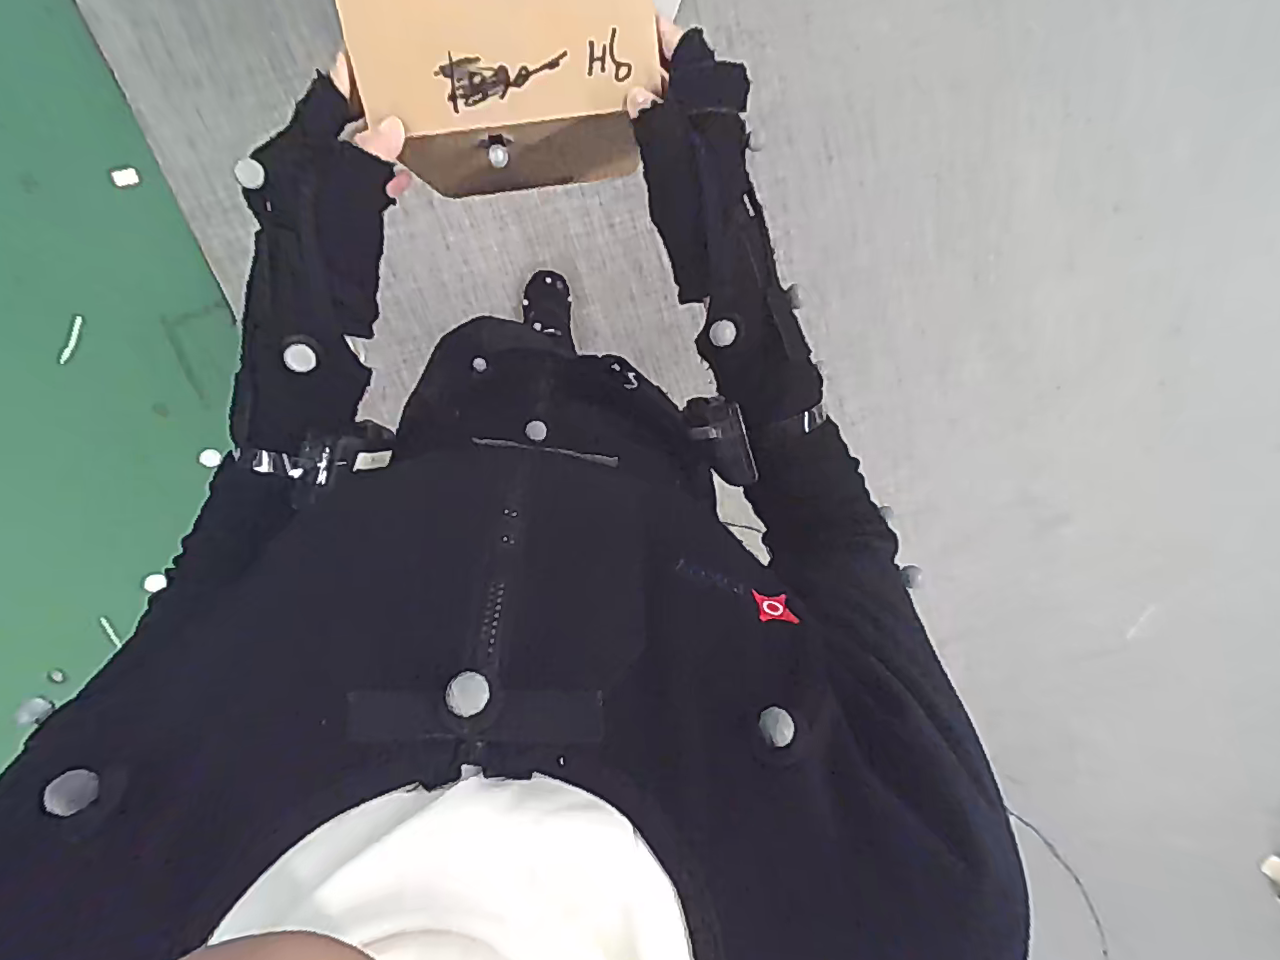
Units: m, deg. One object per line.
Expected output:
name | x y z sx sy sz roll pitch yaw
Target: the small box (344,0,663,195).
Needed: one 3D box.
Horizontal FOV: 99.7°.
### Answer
small box | -0.085 -0.307 0.355 0.168 0.176 0.179 -9 109 -2
